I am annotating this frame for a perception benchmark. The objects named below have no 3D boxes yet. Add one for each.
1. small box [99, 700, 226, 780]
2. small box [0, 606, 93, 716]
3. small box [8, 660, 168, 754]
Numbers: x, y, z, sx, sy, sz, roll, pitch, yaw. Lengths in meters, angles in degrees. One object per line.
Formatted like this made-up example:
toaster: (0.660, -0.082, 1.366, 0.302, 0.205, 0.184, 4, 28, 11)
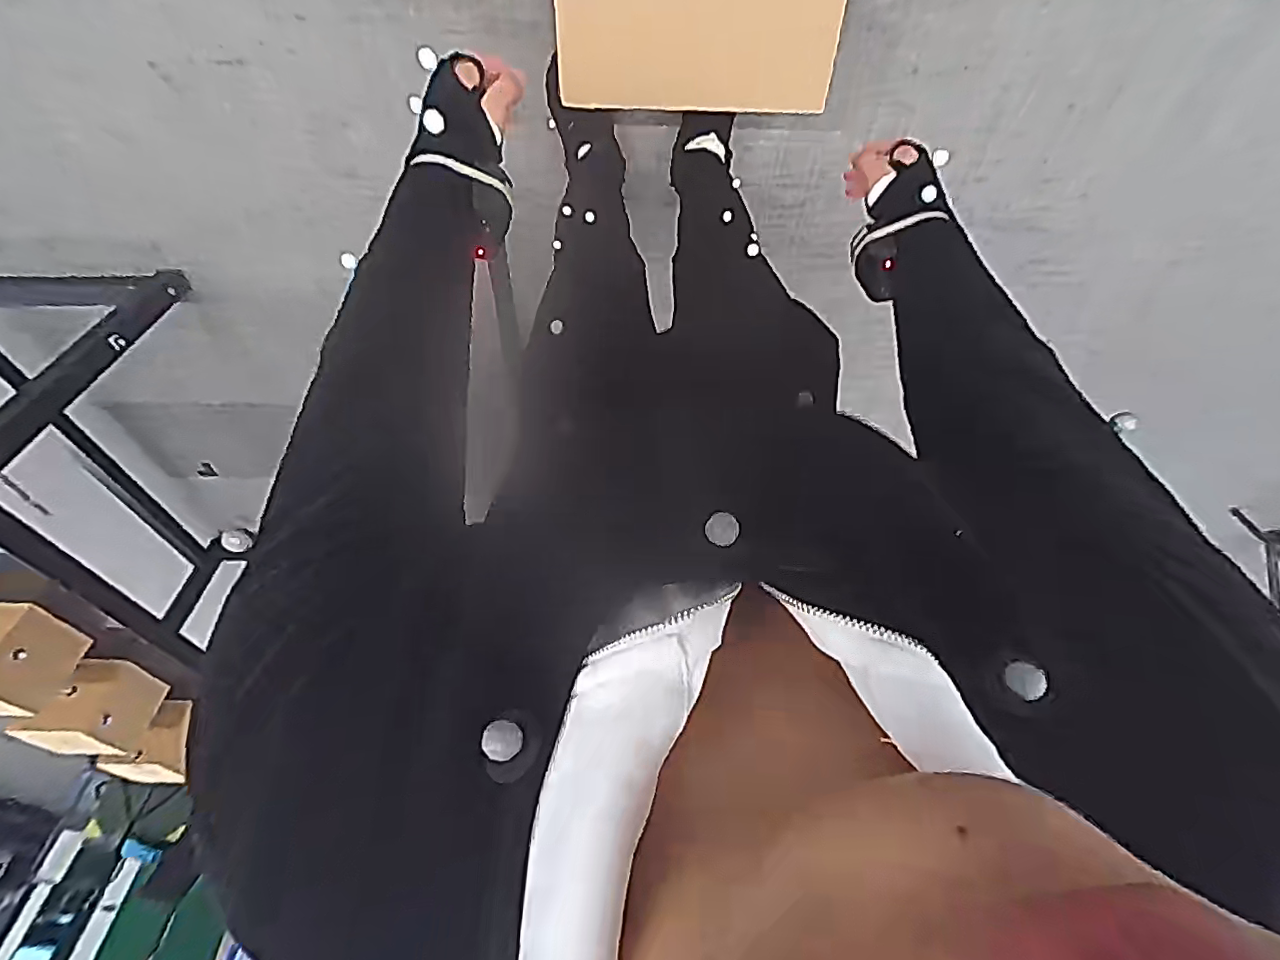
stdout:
small box: (-1.315, 0.725, 1.509, 0.168, 0.176, 0.179, -1, 139, 1)
small box: (-1.302, 0.365, 1.098, 0.168, 0.176, 0.179, 2, 139, 0)
small box: (-1.311, 0.546, 1.303, 0.168, 0.176, 0.179, 2, 139, -1)
